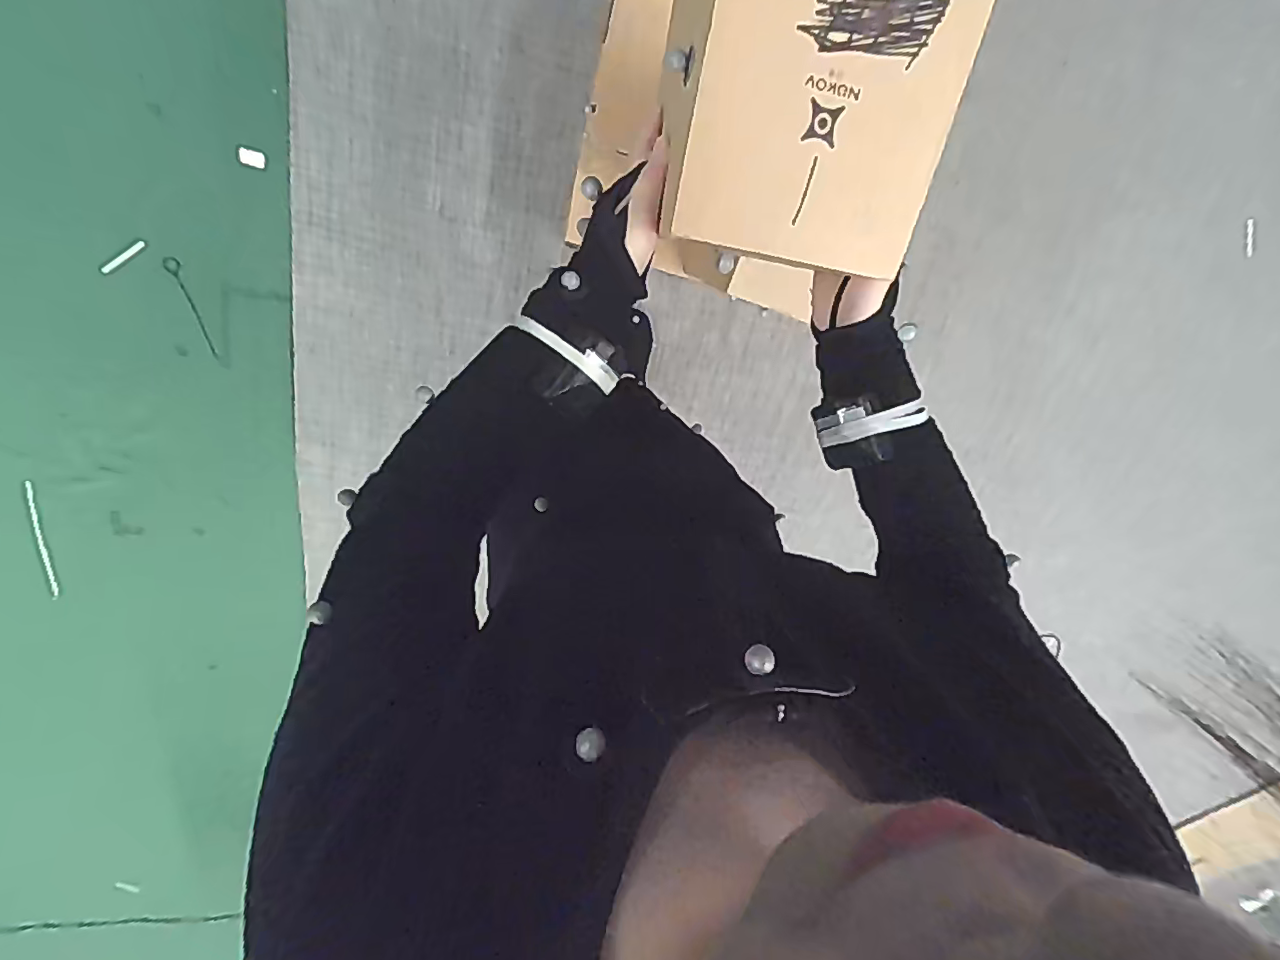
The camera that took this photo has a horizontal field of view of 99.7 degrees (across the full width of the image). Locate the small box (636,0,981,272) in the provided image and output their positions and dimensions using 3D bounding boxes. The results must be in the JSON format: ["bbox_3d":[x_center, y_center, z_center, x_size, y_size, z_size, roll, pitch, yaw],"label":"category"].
[{"bbox_3d":[0.098,-0.265,0.400,0.168,0.176,0.179,7,114,-12],"label":"small box"}]

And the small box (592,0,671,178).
[{"bbox_3d":[0.034,-0.489,0.692,0.168,0.176,0.179,12,112,-11],"label":"small box"}]

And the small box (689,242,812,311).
[{"bbox_3d":[0.194,-0.407,0.920,0.168,0.176,0.179,14,111,-12],"label":"small box"}]
